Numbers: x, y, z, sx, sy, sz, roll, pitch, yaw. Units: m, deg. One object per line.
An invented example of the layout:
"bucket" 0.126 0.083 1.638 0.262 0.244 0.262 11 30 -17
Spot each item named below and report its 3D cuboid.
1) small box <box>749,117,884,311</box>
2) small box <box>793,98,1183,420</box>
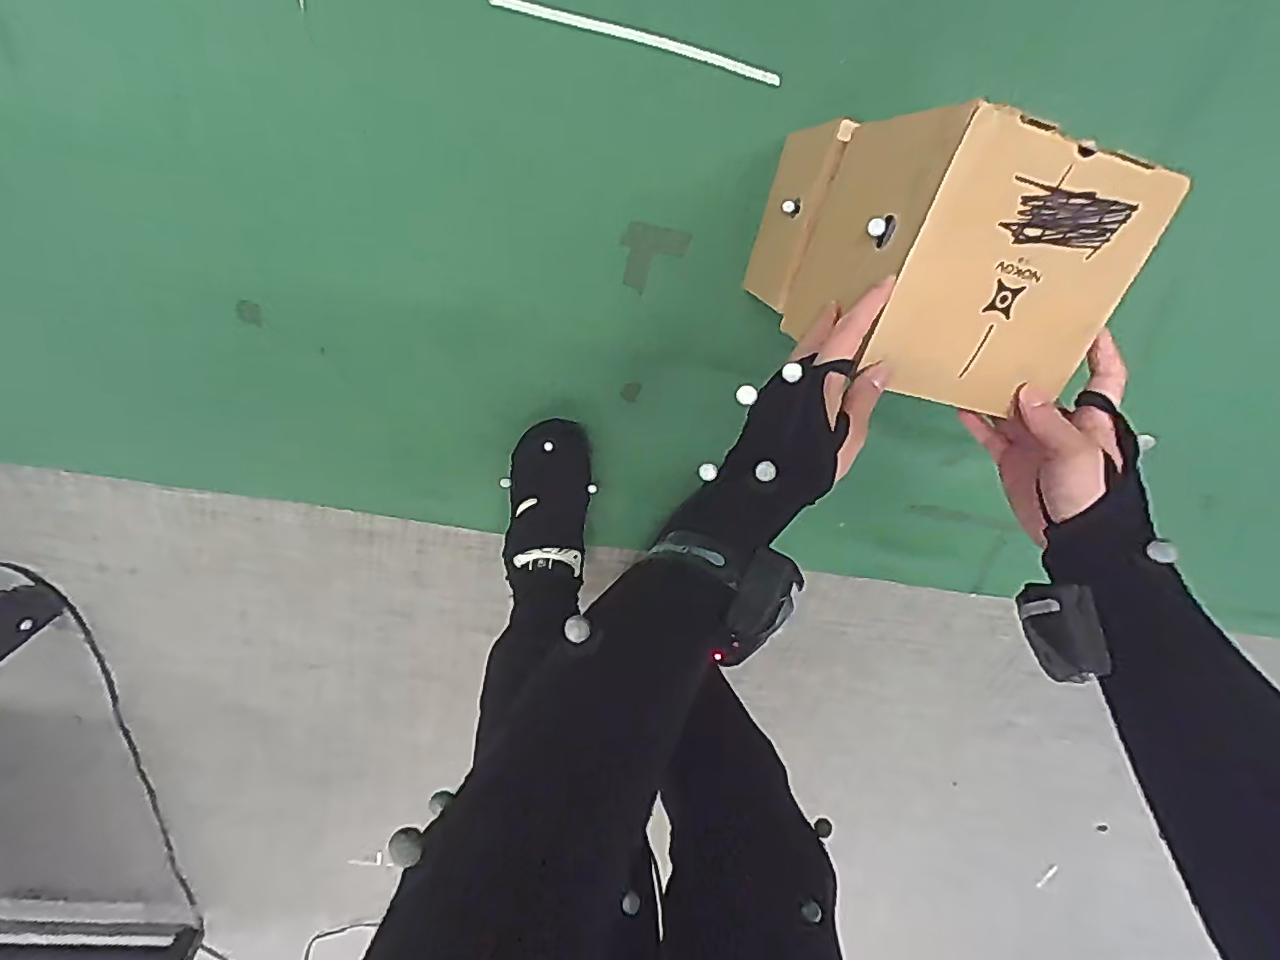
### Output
"small box" 0.238 -0.275 0.607 0.168 0.176 0.179 11 117 -9
"small box" 0.248 -0.174 0.442 0.168 0.176 0.179 11 117 -12
